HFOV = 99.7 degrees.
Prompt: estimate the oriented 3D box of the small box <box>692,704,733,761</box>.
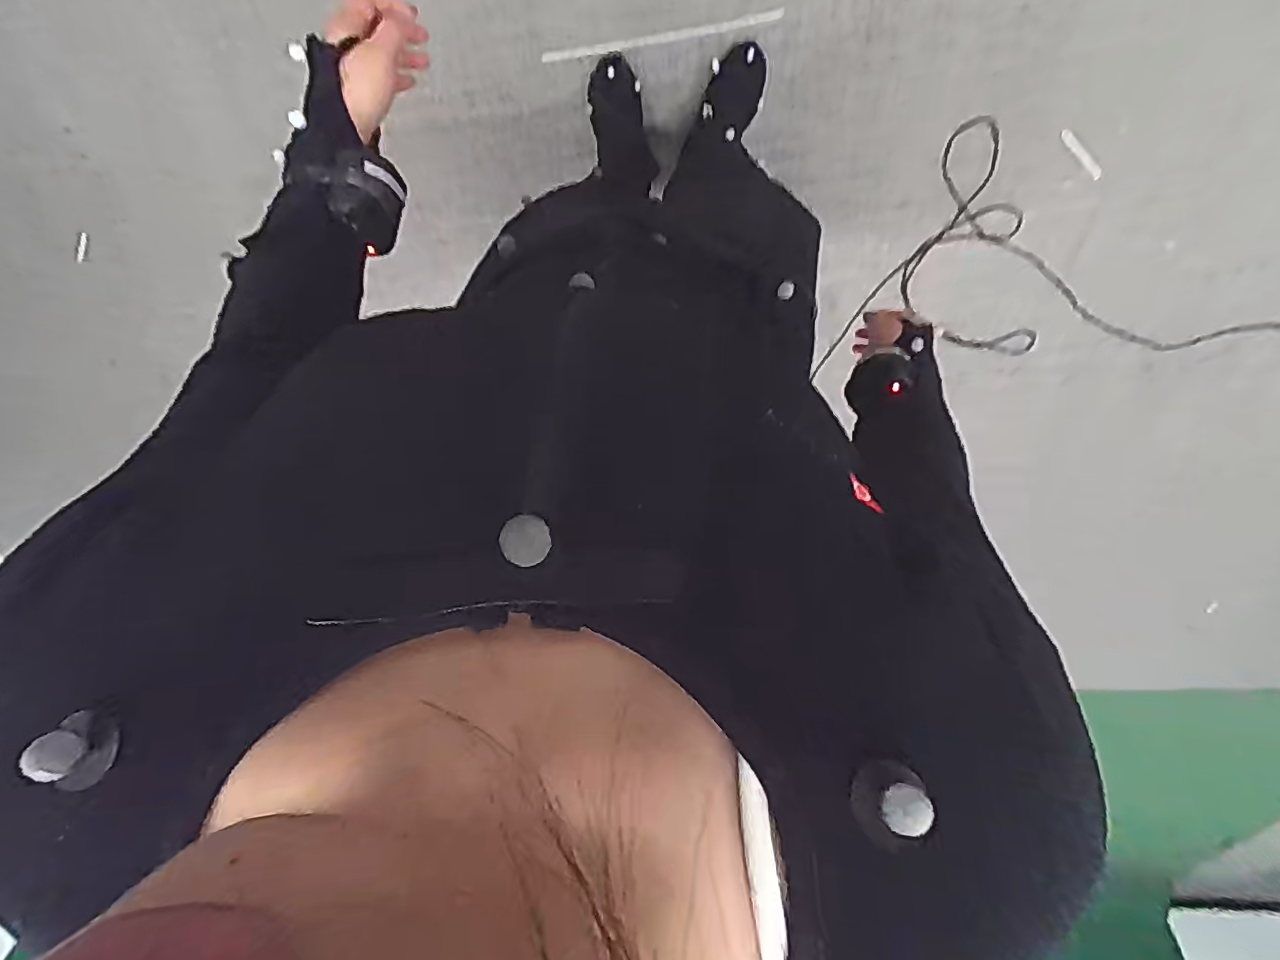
[{"bbox_3d":[0.310,1.087,2.331,0.168,0.176,0.179,-1,130,6],"label":"small box"}]
